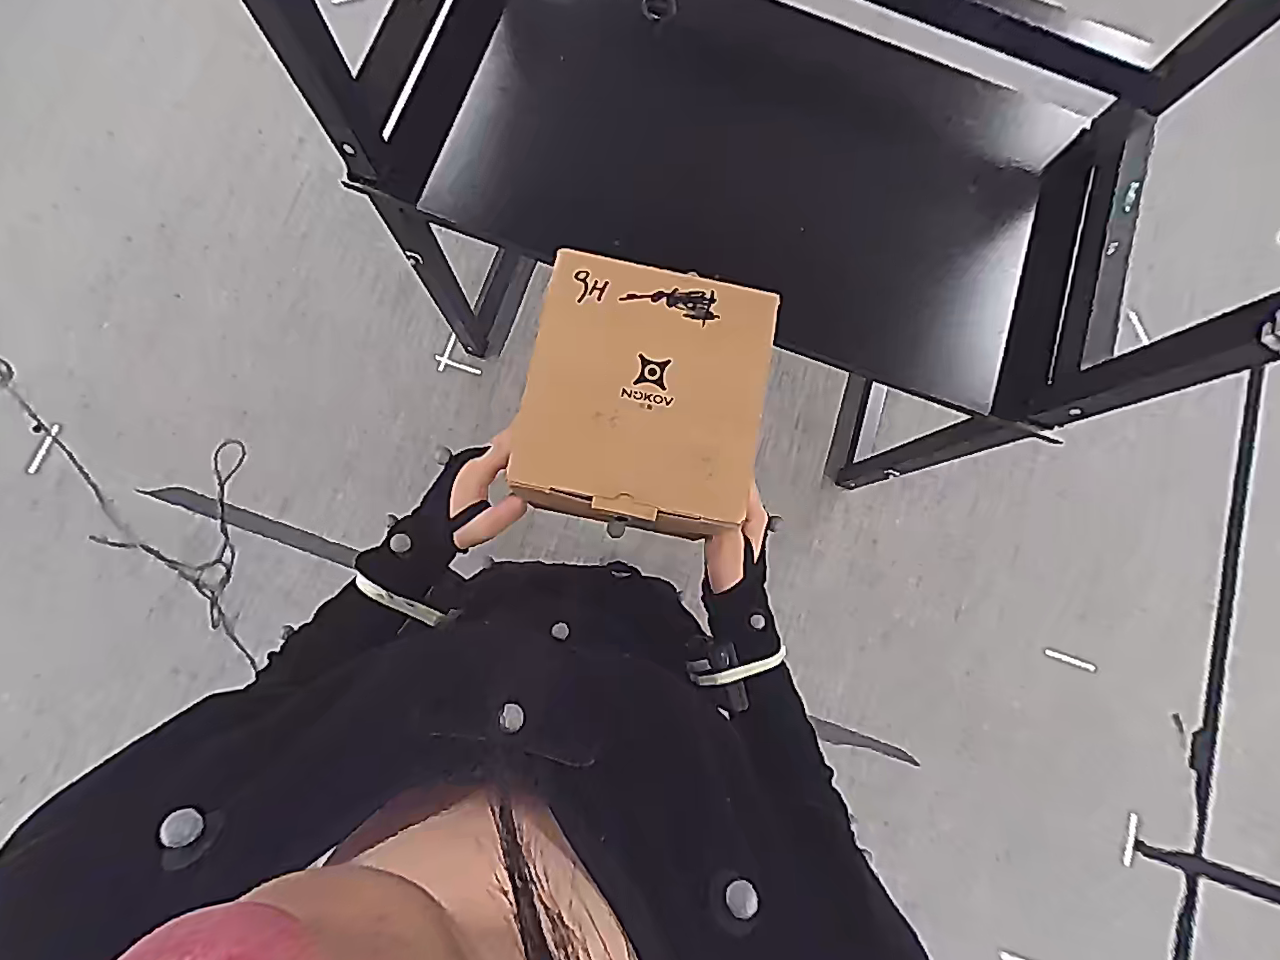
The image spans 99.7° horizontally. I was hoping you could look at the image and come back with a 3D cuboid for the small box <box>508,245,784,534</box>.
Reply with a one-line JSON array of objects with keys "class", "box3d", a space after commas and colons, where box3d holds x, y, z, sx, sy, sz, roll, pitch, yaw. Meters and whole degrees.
[{"class": "small box", "box3d": [0.002, -0.055, 0.448, 0.168, 0.176, 0.179, 11, 81, -3]}]
